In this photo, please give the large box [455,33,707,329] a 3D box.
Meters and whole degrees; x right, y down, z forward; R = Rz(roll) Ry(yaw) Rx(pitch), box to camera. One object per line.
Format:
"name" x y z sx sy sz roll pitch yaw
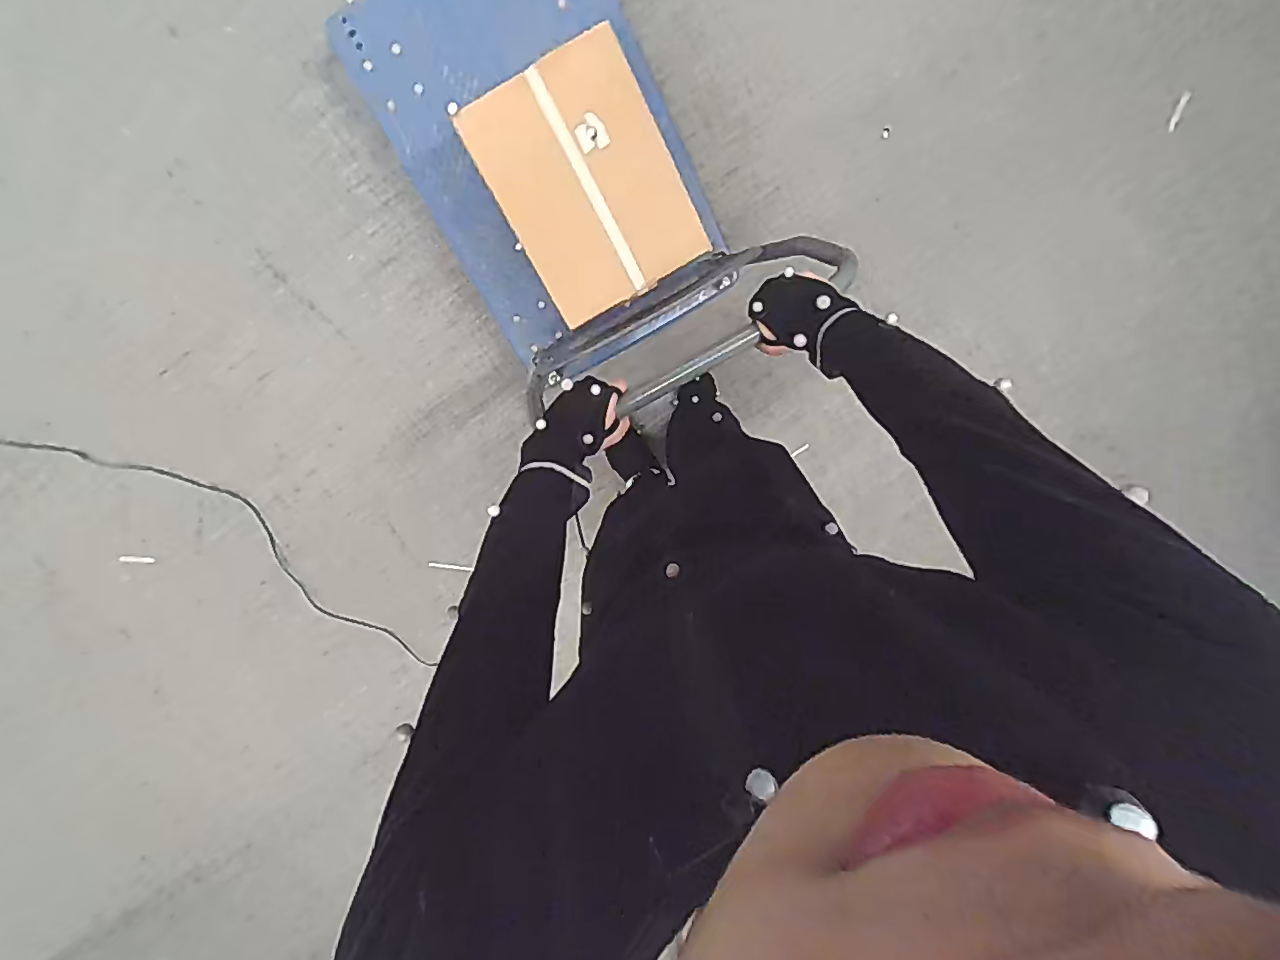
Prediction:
"large box" -0.108 -0.569 1.129 0.320 0.320 0.408 -29 106 2
